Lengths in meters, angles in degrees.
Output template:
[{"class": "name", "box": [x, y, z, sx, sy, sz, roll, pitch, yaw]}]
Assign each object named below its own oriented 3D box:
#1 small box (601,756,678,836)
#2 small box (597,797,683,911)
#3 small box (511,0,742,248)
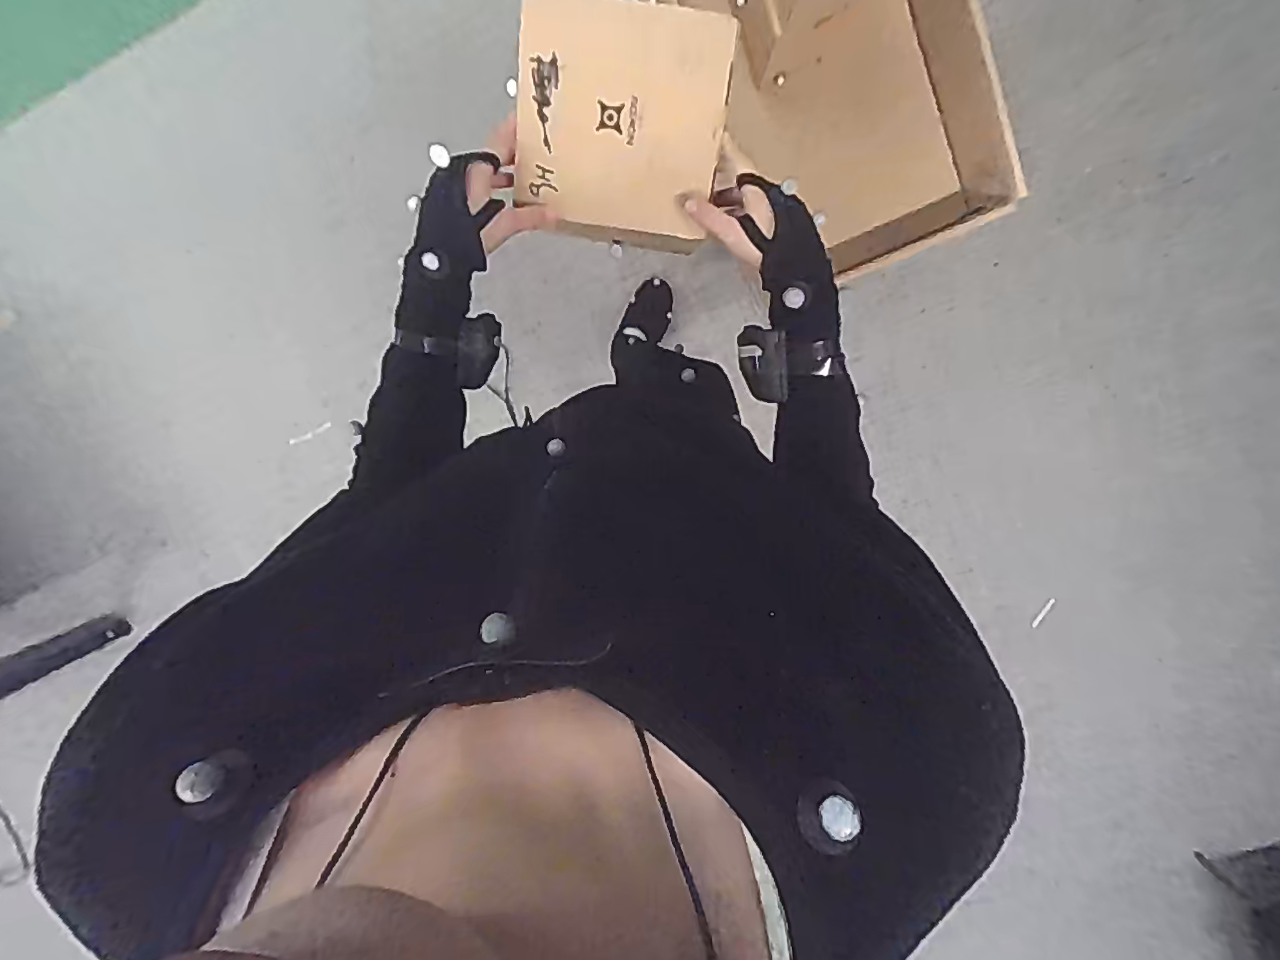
[{"class": "small box", "box": [0.000, 0.969, 1.621, 0.179, 0.176, 0.168, -24, 100, 8]}, {"class": "small box", "box": [0.002, 0.999, 1.459, 0.179, 0.176, 0.168, -24, 99, 7]}, {"class": "small box", "box": [-0.016, -0.329, 0.524, 0.179, 0.176, 0.168, 8, 108, -3]}]
